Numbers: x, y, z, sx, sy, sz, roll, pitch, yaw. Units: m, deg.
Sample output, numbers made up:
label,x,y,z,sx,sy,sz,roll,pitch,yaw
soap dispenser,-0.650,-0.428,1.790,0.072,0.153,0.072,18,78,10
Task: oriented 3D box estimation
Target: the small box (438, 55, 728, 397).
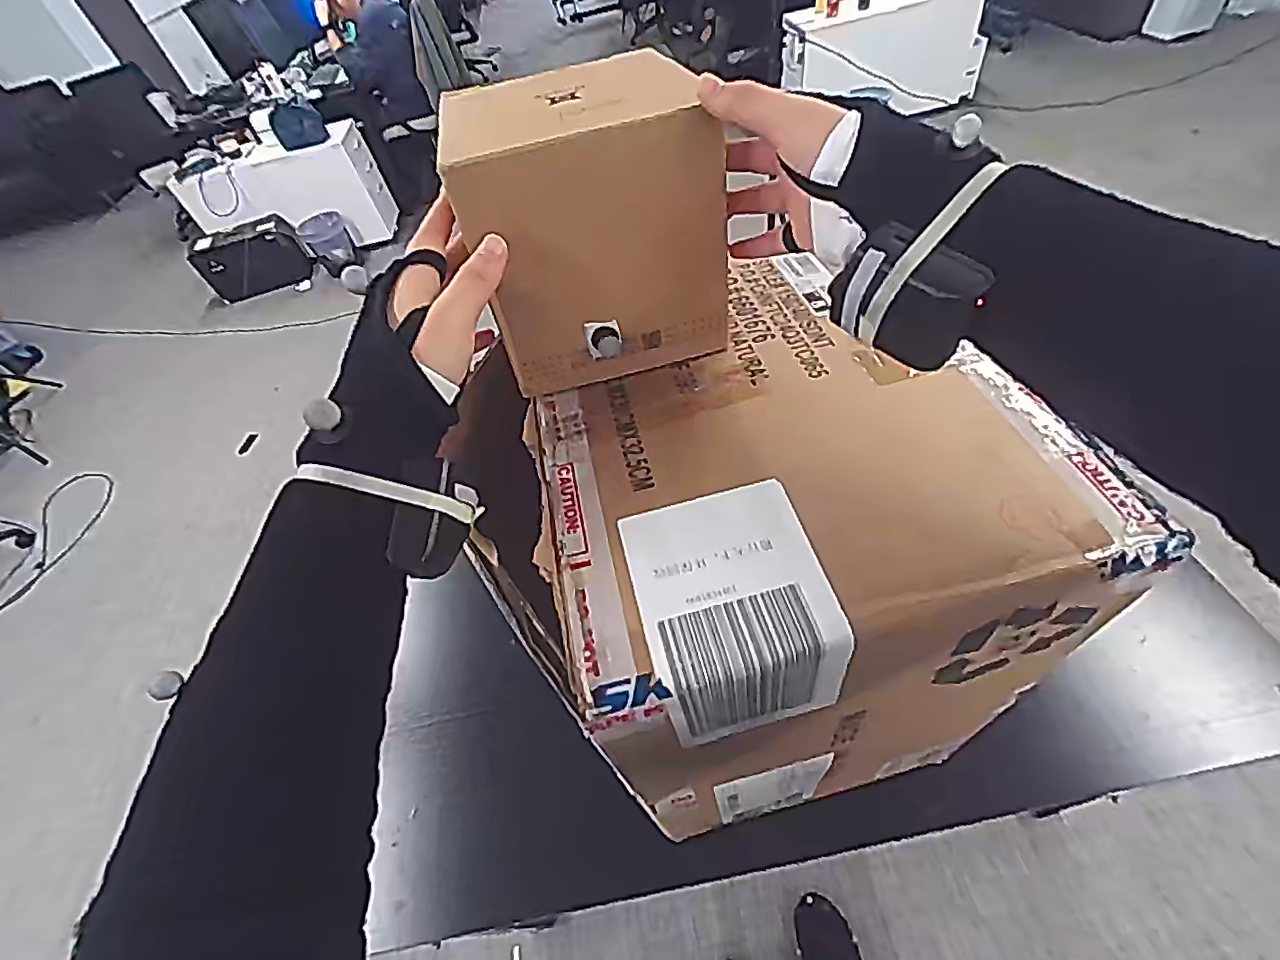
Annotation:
label,x,y,z,sx,sy,sz,roll,pitch,yaw
small box,-0.039,-0.193,0.414,0.168,0.176,0.179,-17,48,-3
